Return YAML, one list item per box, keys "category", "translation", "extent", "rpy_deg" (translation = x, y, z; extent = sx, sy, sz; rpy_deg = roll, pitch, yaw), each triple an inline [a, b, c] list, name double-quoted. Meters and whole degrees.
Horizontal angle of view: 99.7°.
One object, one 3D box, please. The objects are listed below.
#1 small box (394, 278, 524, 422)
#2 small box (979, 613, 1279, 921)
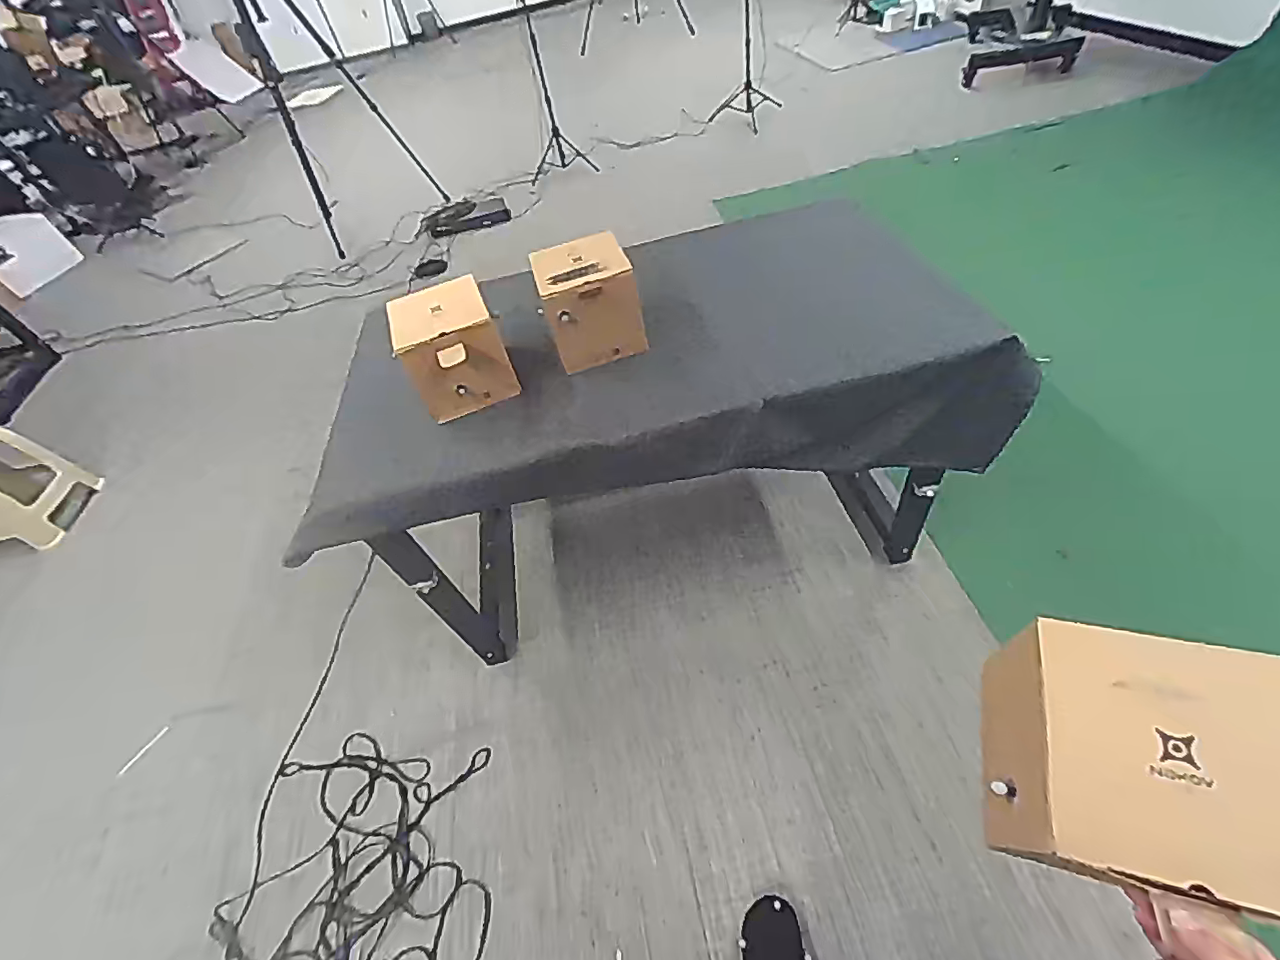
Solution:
- category: "small box"
  translation: [-0.332, -0.239, 0.999]
  extent: [0.168, 0.176, 0.179]
  rpy_deg: [-22, 49, -8]
- category: "small box"
  translation: [0.402, 0.235, 0.454]
  extent: [0.168, 0.176, 0.179]
  rpy_deg: [6, 60, 19]
